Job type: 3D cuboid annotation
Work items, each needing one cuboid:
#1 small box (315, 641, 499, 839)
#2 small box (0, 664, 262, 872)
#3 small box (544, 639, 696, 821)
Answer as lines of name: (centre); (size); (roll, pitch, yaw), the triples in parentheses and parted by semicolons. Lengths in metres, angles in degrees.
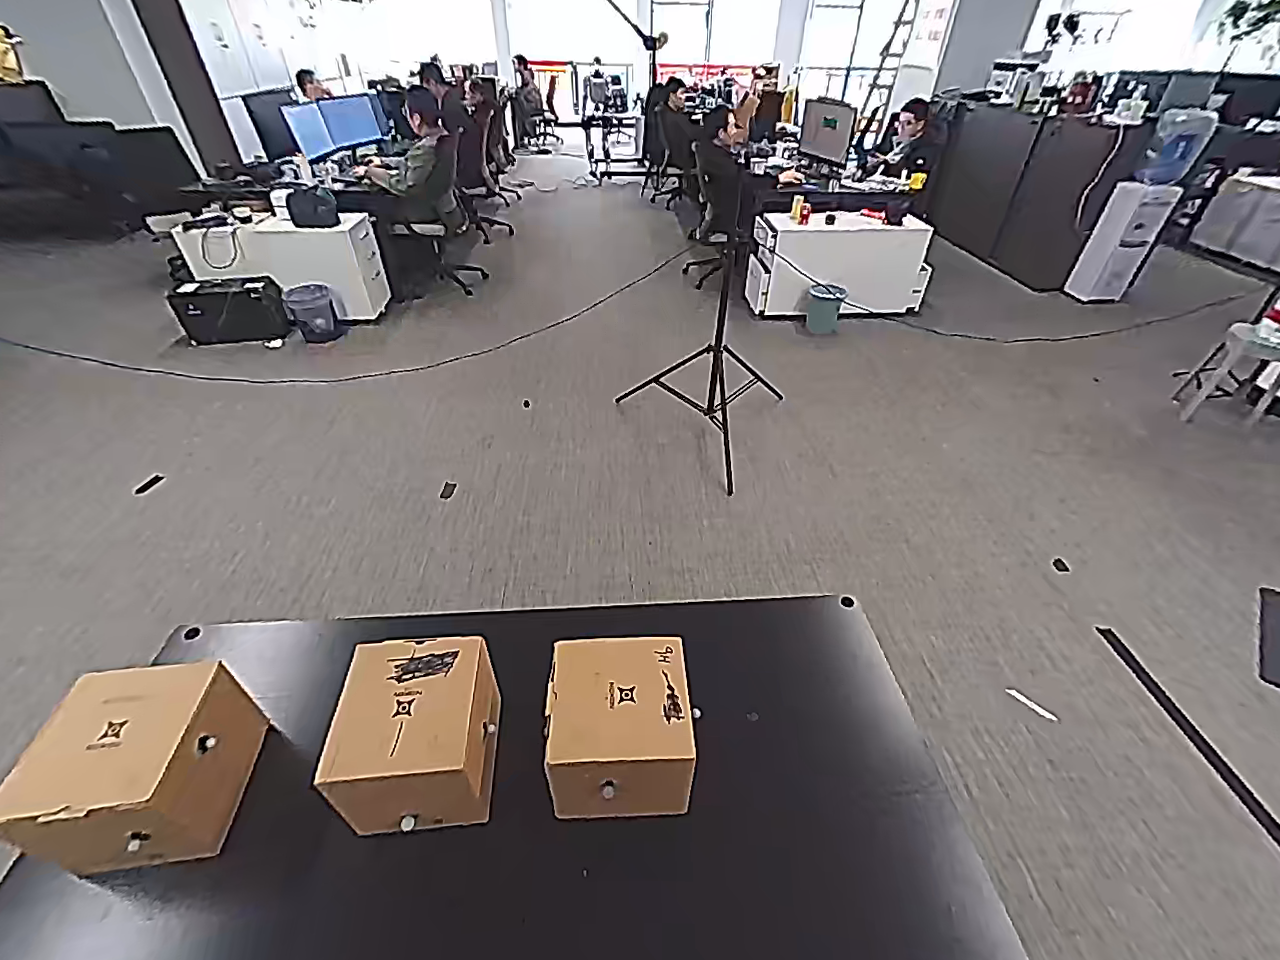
small box: (-0.283, 0.337, 0.708); (0.168, 0.176, 0.179); (-3, 40, -5)
small box: (-0.614, 0.359, 0.673); (0.168, 0.176, 0.179); (-3, 39, -8)
small box: (-0.024, 0.333, 0.721); (0.179, 0.176, 0.168); (-2, 39, -2)
